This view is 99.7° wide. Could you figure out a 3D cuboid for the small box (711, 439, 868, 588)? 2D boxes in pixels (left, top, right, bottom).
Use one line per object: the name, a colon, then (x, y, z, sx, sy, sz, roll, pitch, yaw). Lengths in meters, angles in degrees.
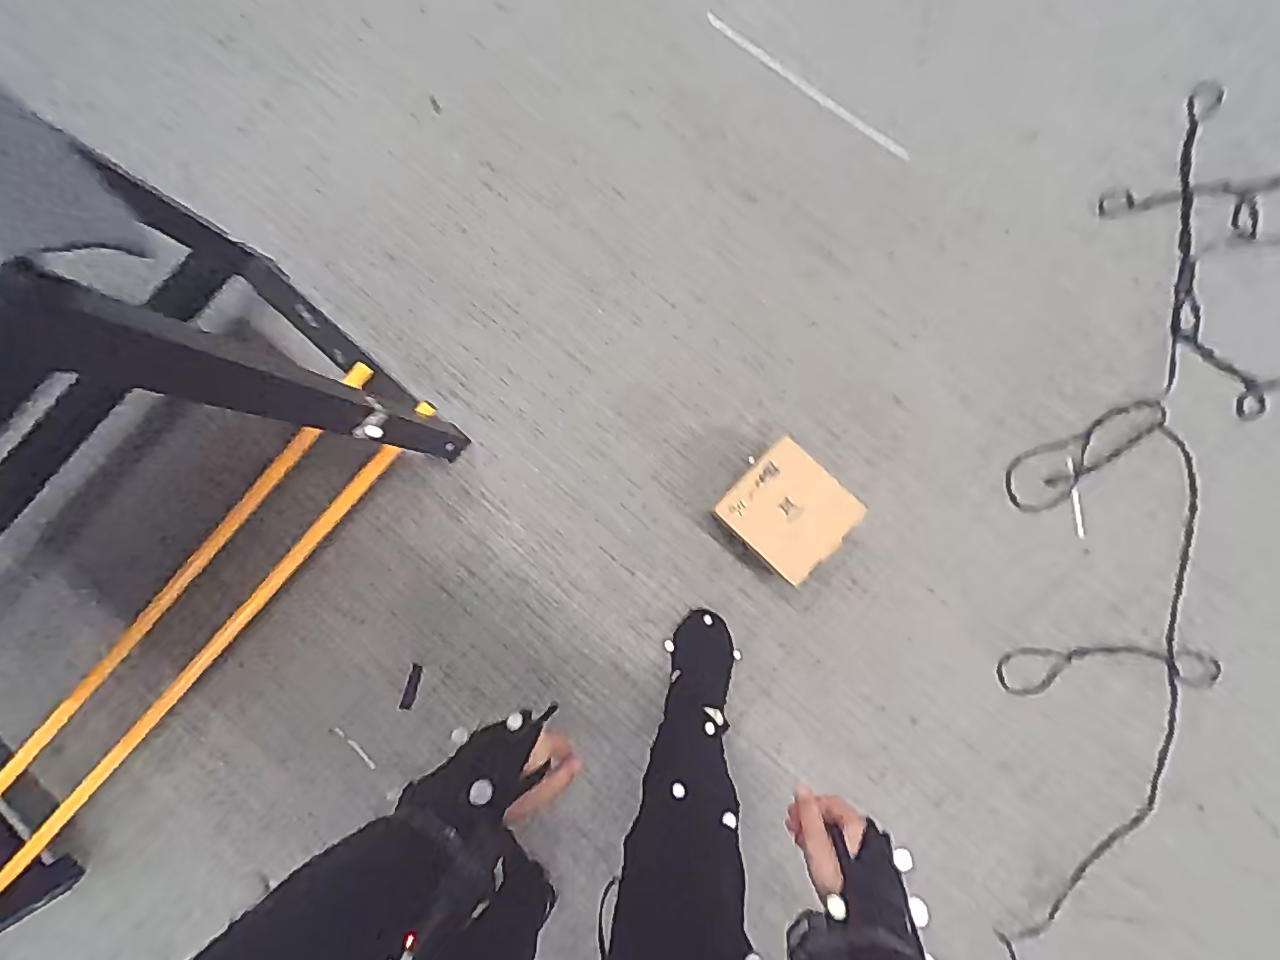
small box: (0.240, 0.054, 0.913, 0.179, 0.176, 0.168, 45, 89, 5)
